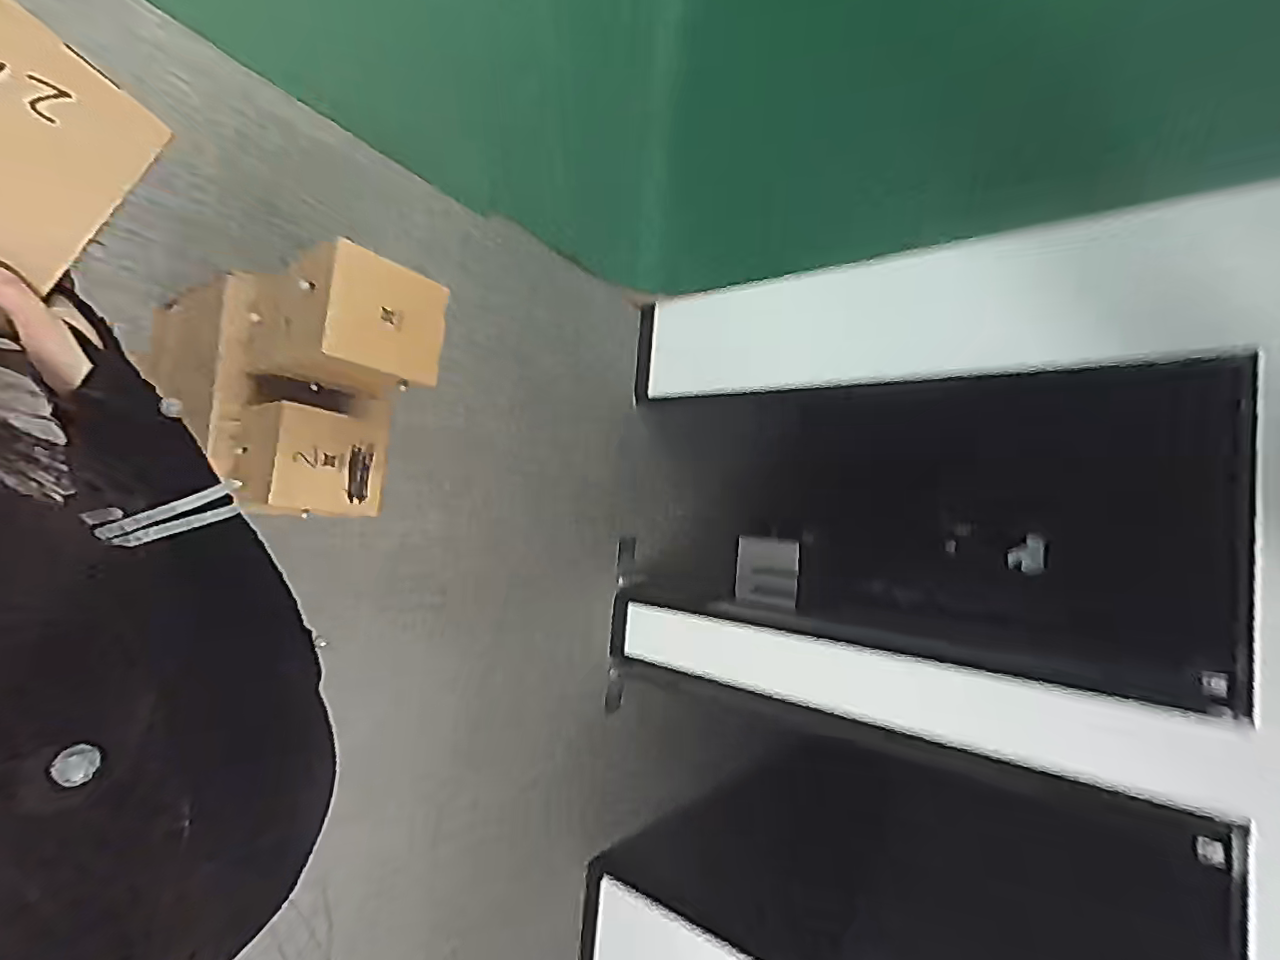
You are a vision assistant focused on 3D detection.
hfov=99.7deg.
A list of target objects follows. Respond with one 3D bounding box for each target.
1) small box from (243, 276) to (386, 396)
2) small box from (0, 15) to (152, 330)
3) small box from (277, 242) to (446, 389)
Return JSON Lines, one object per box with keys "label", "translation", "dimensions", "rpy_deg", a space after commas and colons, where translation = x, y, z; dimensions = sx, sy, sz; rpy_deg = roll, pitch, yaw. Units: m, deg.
{"label": "small box", "translation": [-0.567, -0.251, 0.966], "dimensions": [0.179, 0.176, 0.168], "rpy_deg": [13, 83, -52]}
{"label": "small box", "translation": [-0.476, -0.223, 0.348], "dimensions": [0.179, 0.176, 0.168], "rpy_deg": [-62, 145, -9]}
{"label": "small box", "translation": [-0.443, -0.245, 0.860], "dimensions": [0.179, 0.176, 0.168], "rpy_deg": [12, 83, -54]}
